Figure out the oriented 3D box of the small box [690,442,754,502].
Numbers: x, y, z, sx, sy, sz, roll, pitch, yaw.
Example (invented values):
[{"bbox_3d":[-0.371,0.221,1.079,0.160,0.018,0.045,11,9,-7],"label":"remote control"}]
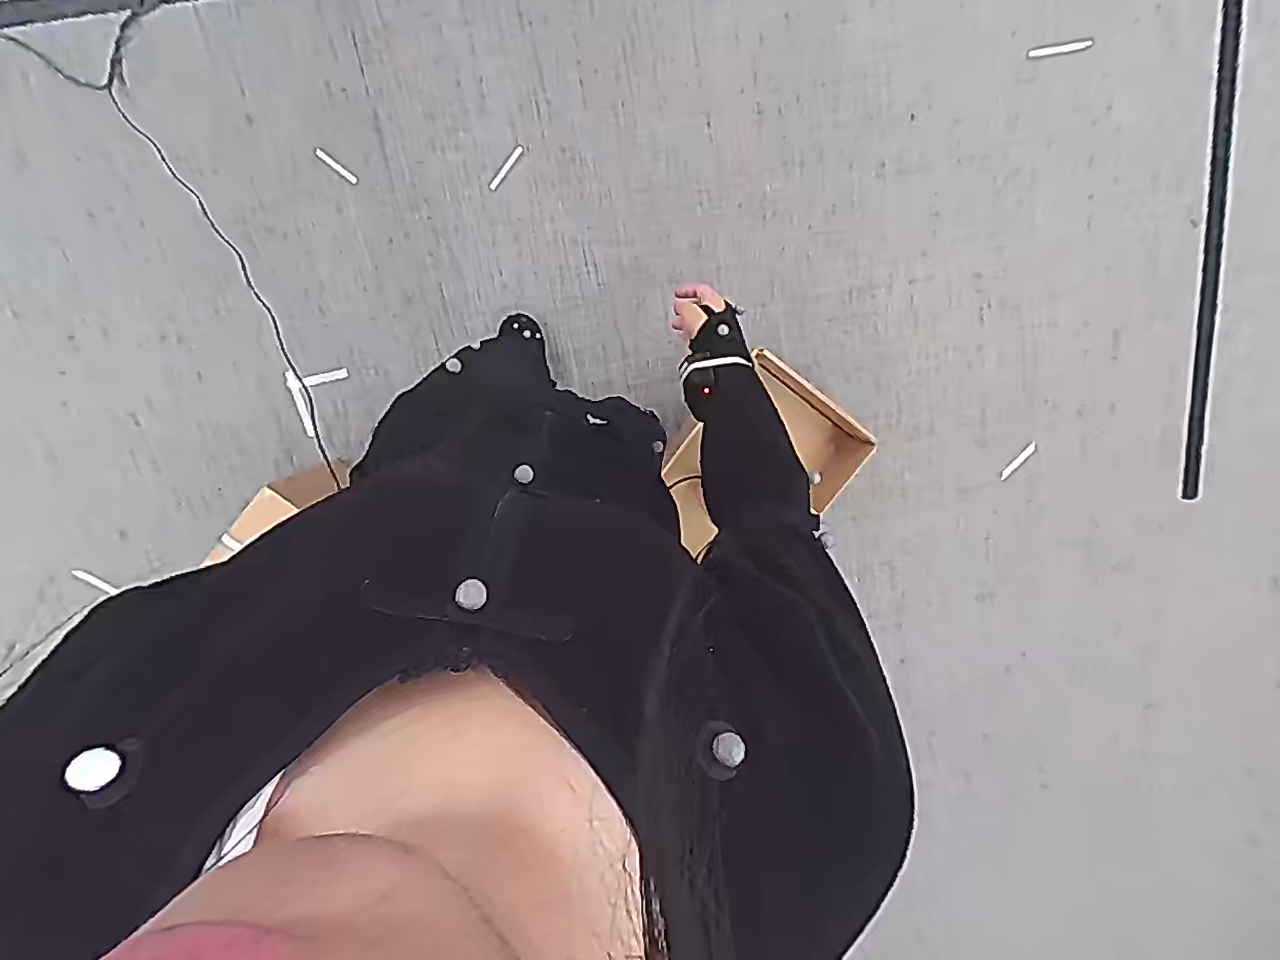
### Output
[{"bbox_3d":[0.251,0.022,1.395,0.179,0.176,0.168,38,98,-12],"label":"small box"}]
